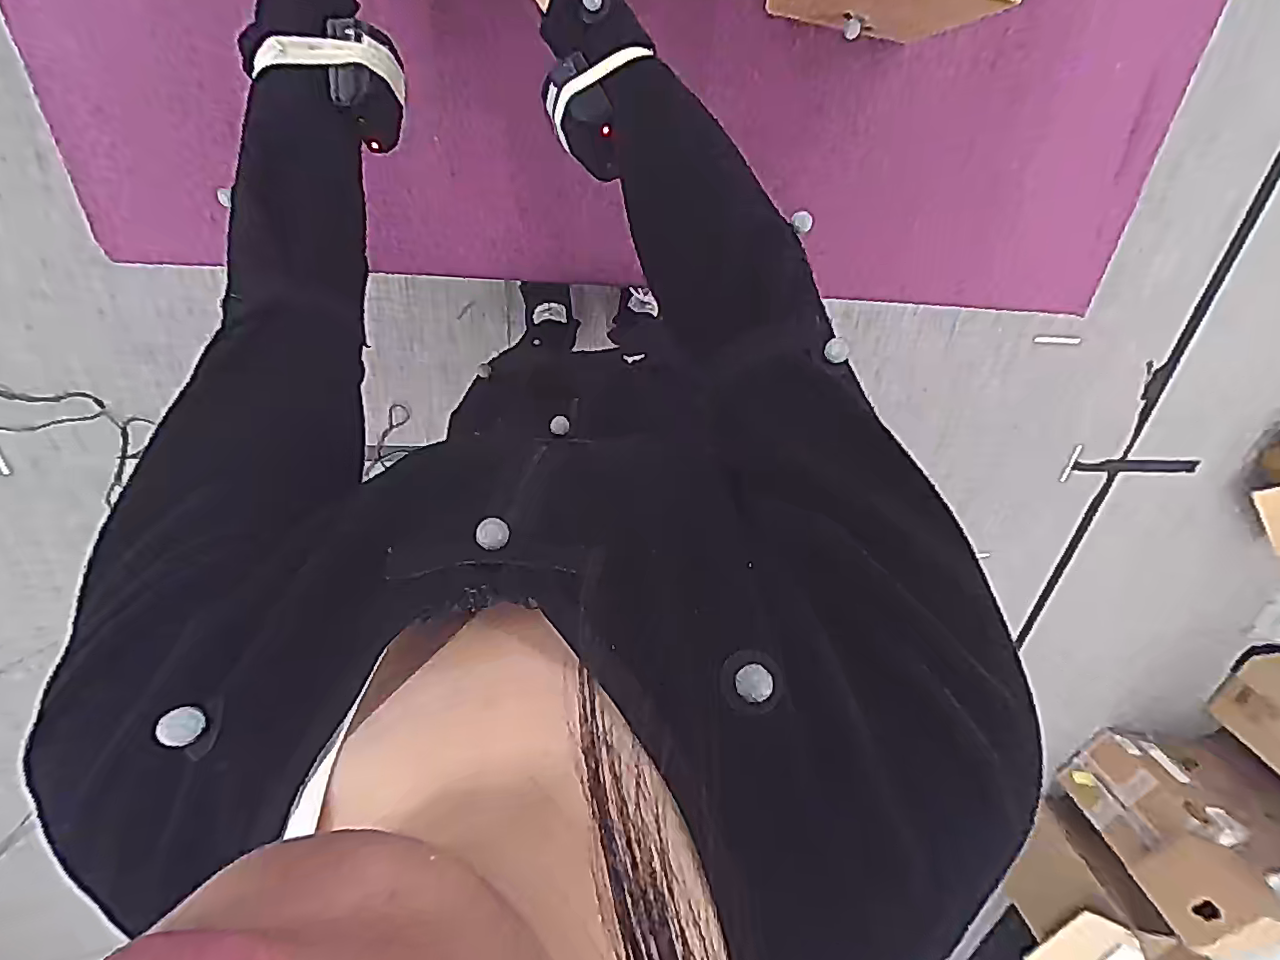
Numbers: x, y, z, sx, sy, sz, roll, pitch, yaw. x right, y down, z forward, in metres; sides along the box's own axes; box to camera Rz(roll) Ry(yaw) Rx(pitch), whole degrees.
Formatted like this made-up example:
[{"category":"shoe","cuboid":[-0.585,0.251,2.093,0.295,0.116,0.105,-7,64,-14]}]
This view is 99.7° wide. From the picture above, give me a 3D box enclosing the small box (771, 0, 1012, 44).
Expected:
[{"category":"small box","cuboid":[0.226,-0.507,0.456,0.168,0.176,0.179,3,120,-11]}]
